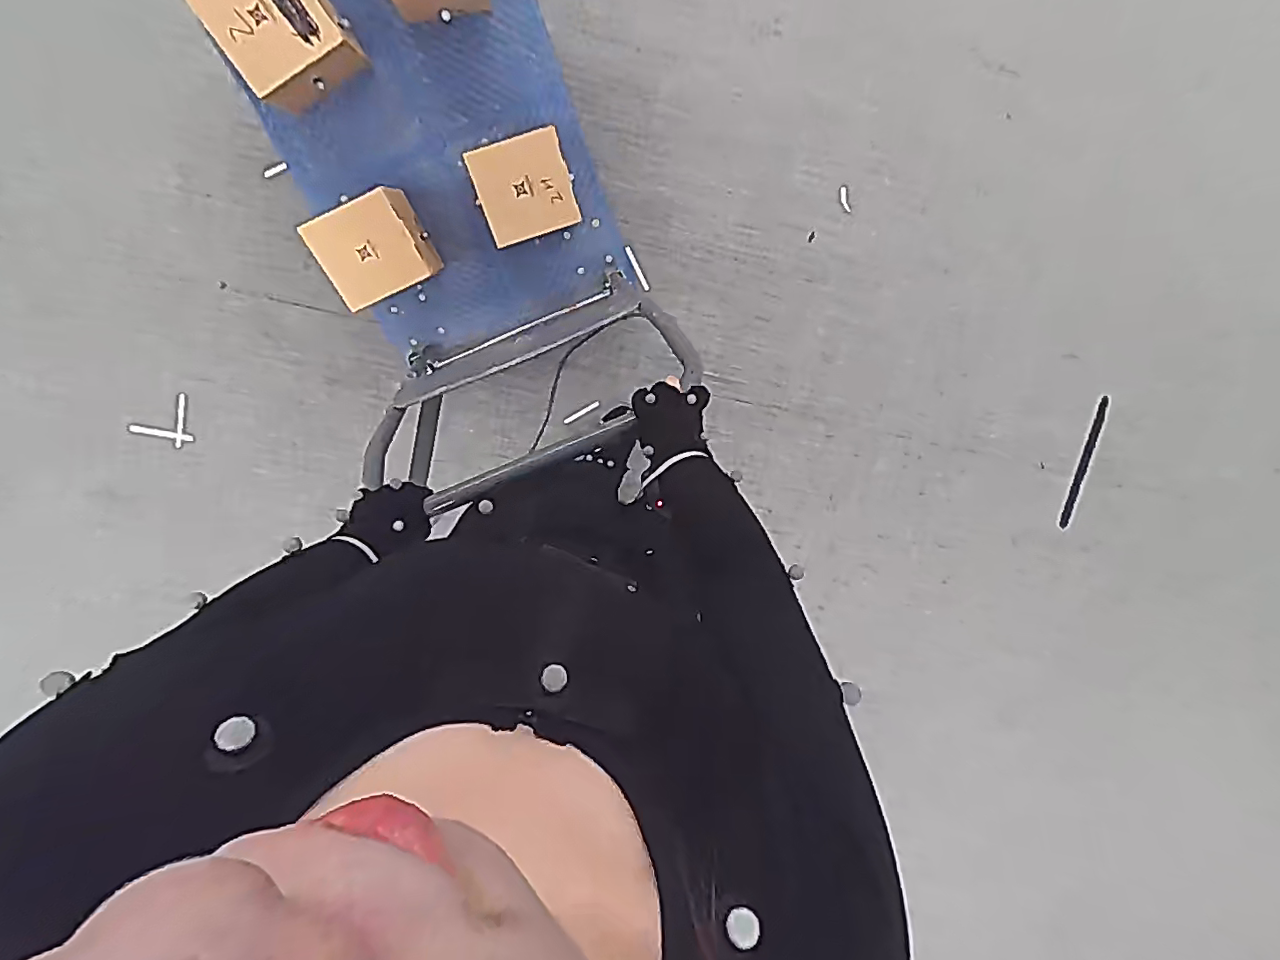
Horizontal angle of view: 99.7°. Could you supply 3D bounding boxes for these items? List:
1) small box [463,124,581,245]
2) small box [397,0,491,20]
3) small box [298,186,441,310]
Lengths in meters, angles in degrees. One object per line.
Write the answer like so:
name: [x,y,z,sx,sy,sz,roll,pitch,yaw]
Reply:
small box: [-0.228,-0.578,1.073,0.179,0.176,0.168,-19,118,-1]
small box: [-0.353,-0.904,0.891,0.168,0.176,0.179,-14,118,-4]
small box: [-0.522,-0.458,1.074,0.179,0.176,0.168,-26,117,1]
